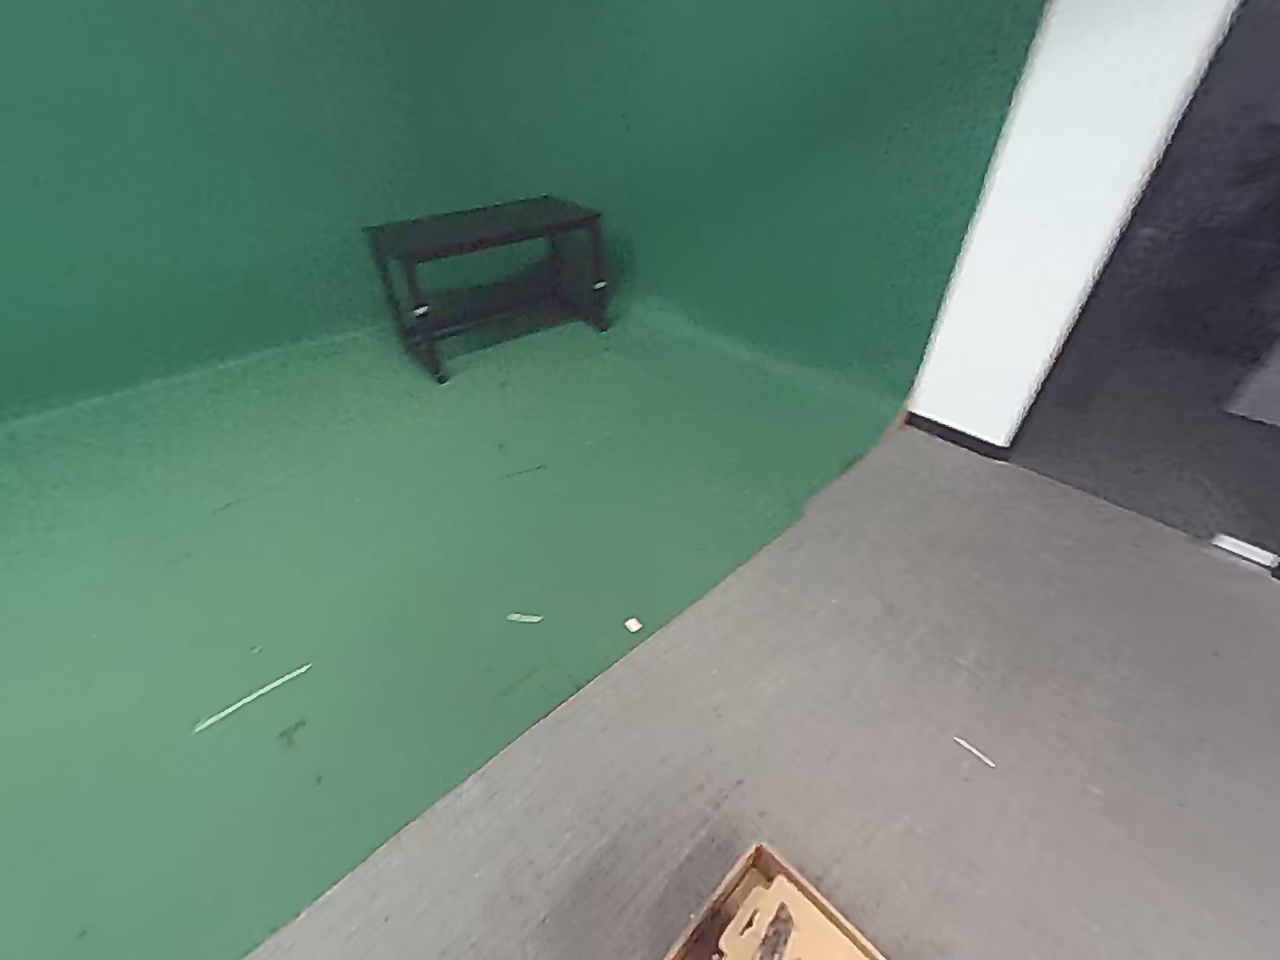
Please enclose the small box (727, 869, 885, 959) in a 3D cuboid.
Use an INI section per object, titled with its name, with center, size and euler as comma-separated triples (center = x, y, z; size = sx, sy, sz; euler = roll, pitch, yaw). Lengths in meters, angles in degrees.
[small box]
center = 0.239, 0.736, 0.800
size = 0.179, 0.176, 0.168
euler = 33, 54, 33
